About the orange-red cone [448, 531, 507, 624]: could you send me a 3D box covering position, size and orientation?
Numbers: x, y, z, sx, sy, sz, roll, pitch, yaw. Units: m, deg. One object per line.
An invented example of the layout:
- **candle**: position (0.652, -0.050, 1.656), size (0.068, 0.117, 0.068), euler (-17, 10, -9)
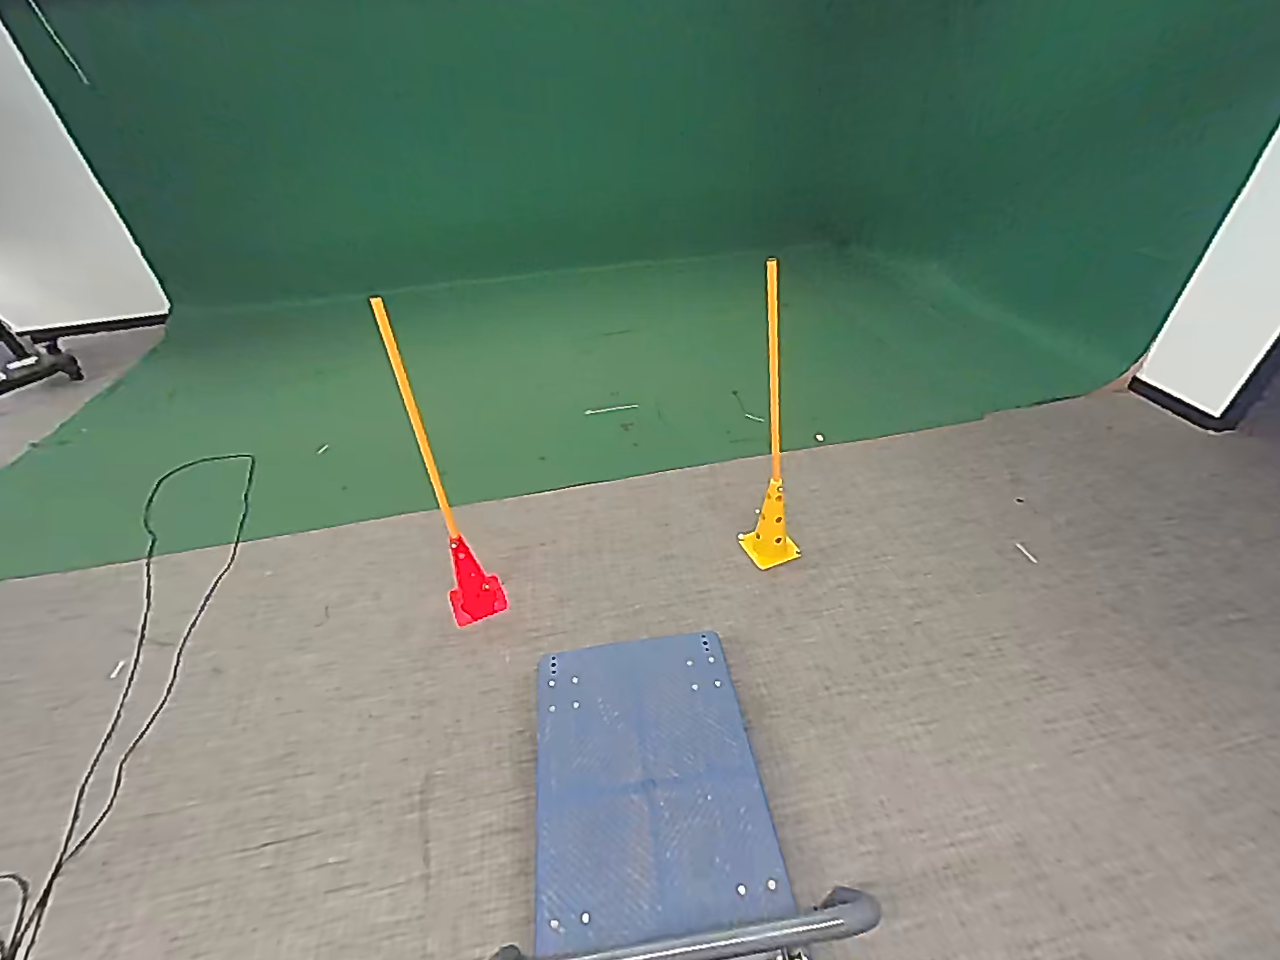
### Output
- **orange-red cone**: position (-0.640, 0.328, 1.991), size (0.199, 0.360, 0.198), euler (-20, 41, -17)
